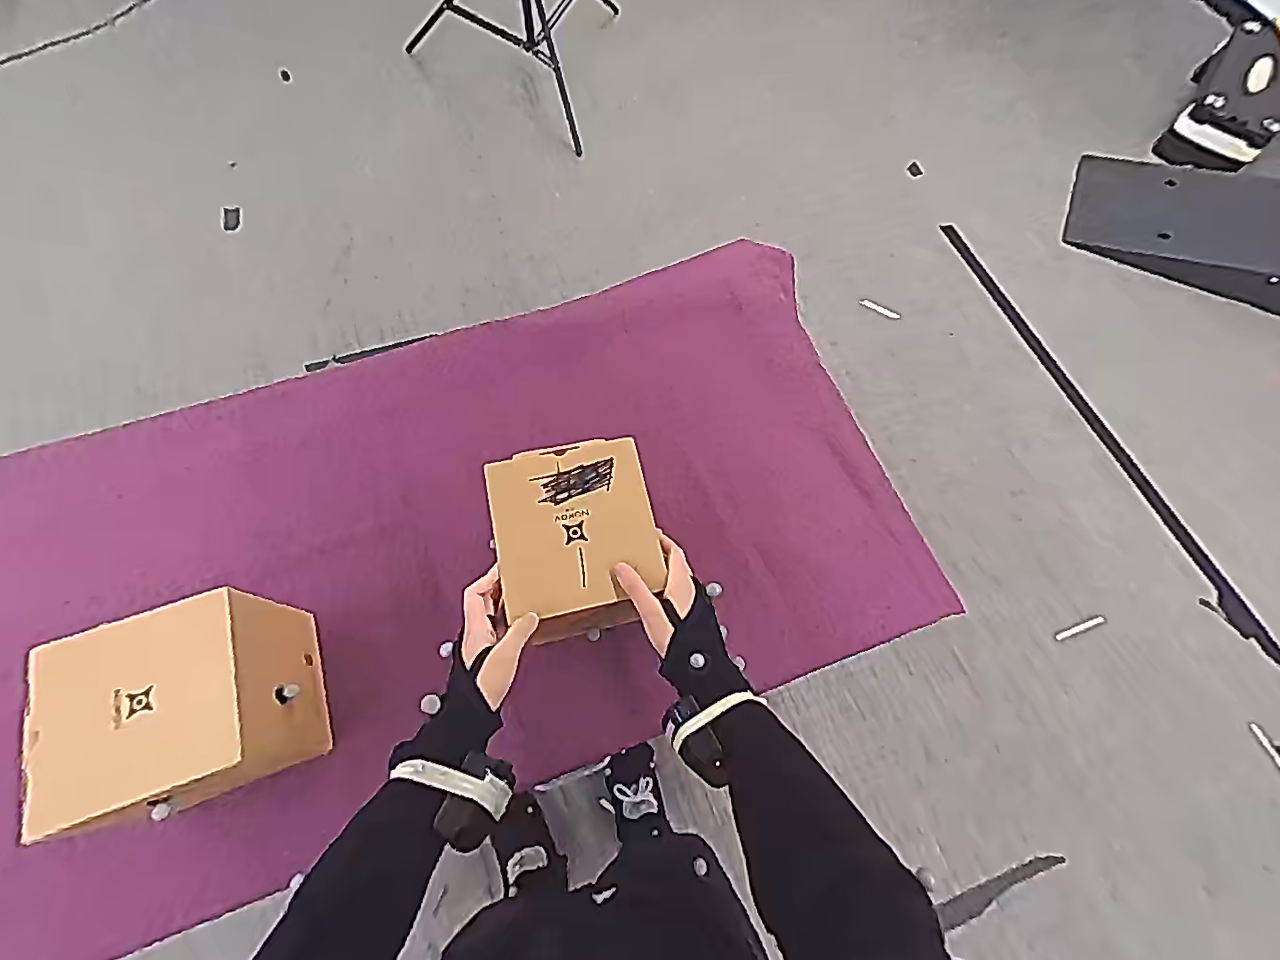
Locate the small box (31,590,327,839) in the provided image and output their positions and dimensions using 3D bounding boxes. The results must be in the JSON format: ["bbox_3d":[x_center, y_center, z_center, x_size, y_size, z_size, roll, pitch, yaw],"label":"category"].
[{"bbox_3d":[-0.455,0.231,0.563,0.179,0.176,0.168,-19,70,-8],"label":"small box"}]

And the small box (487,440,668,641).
[{"bbox_3d":[-0.072,0.078,0.636,0.168,0.176,0.179,-12,69,-6],"label":"small box"}]
